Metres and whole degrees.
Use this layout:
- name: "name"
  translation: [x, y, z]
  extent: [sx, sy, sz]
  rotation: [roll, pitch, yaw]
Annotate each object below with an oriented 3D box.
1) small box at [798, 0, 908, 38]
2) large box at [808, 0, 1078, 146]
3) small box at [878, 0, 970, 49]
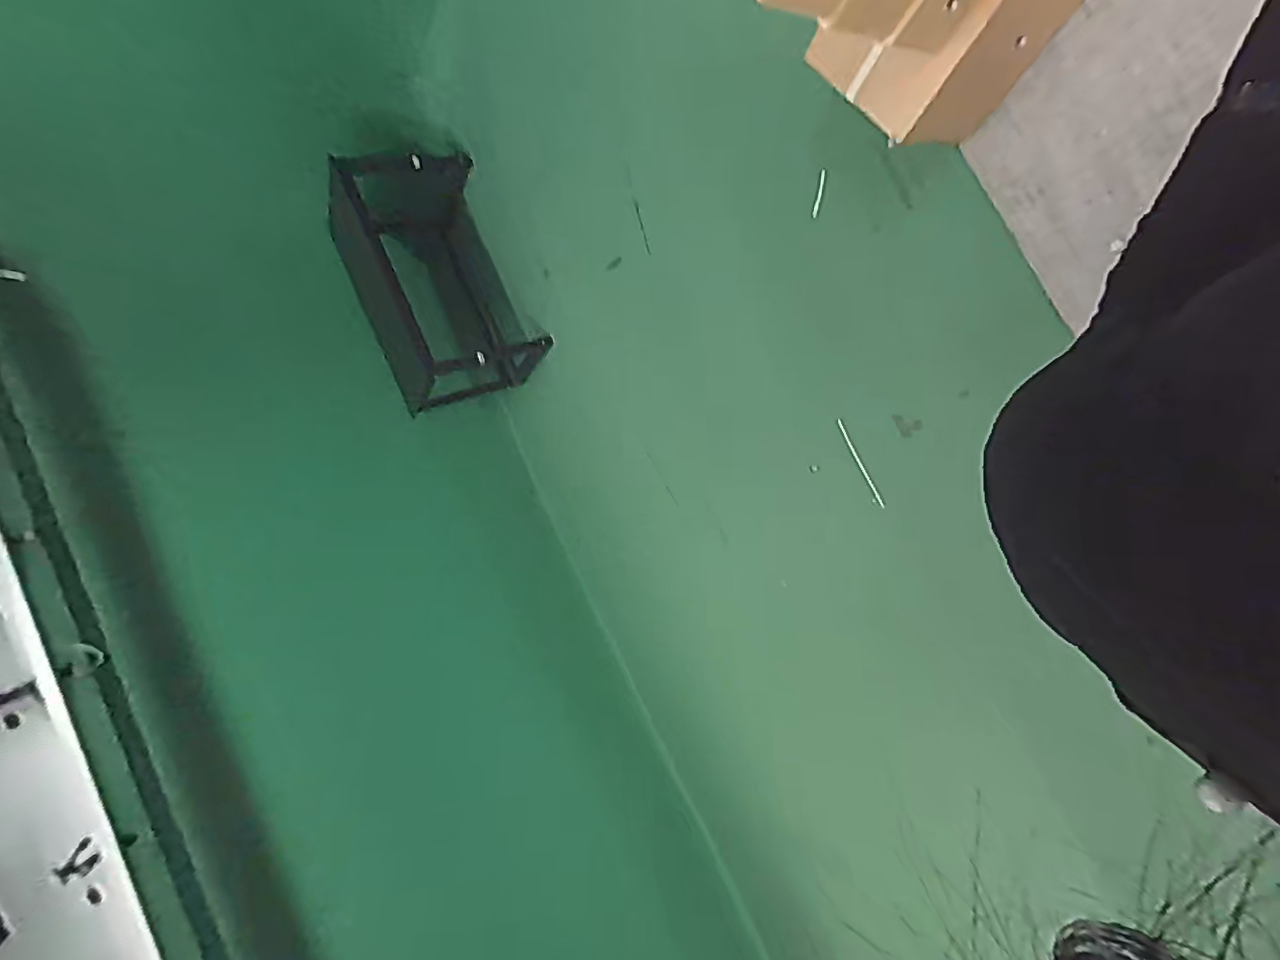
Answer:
- name: "small box"
  translation: [0.333, -0.805, 0.802]
  extent: [0.168, 0.176, 0.179]
  rotation: [59, 145, 11]
- name: "large box"
  translation: [0.622, -0.947, 1.054]
  extent: [0.320, 0.320, 0.408]
  rotation: [56, 147, 17]
- name: "small box"
  translation: [0.459, -0.852, 0.892]
  extent: [0.179, 0.176, 0.168]
  rotation: [58, 146, 12]
